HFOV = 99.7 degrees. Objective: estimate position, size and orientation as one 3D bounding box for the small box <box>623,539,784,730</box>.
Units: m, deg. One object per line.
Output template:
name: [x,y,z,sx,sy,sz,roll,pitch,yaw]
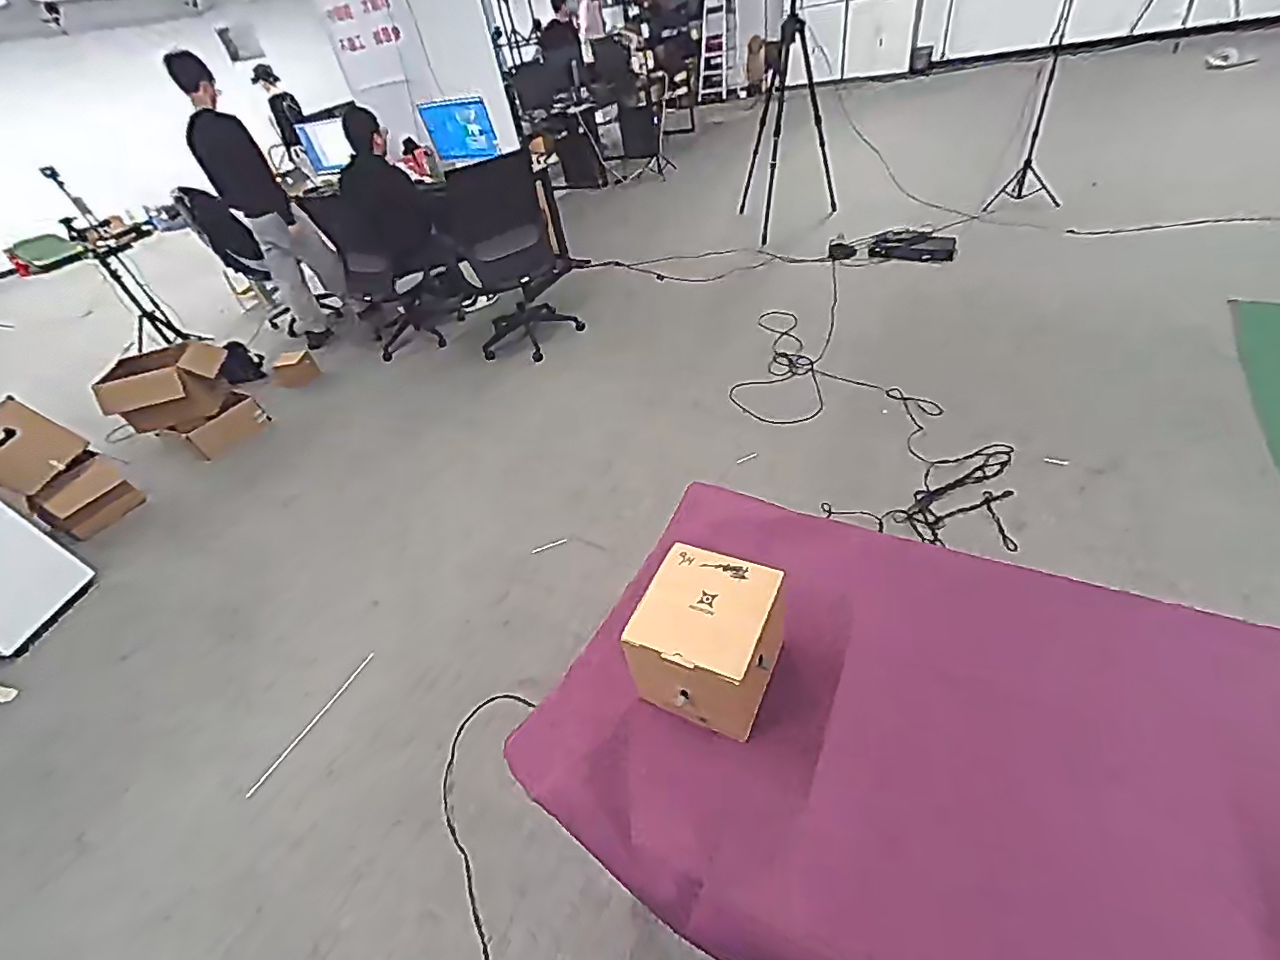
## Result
small box: [0.101,0.218,0.764,0.168,0.176,0.179,13,48,26]
